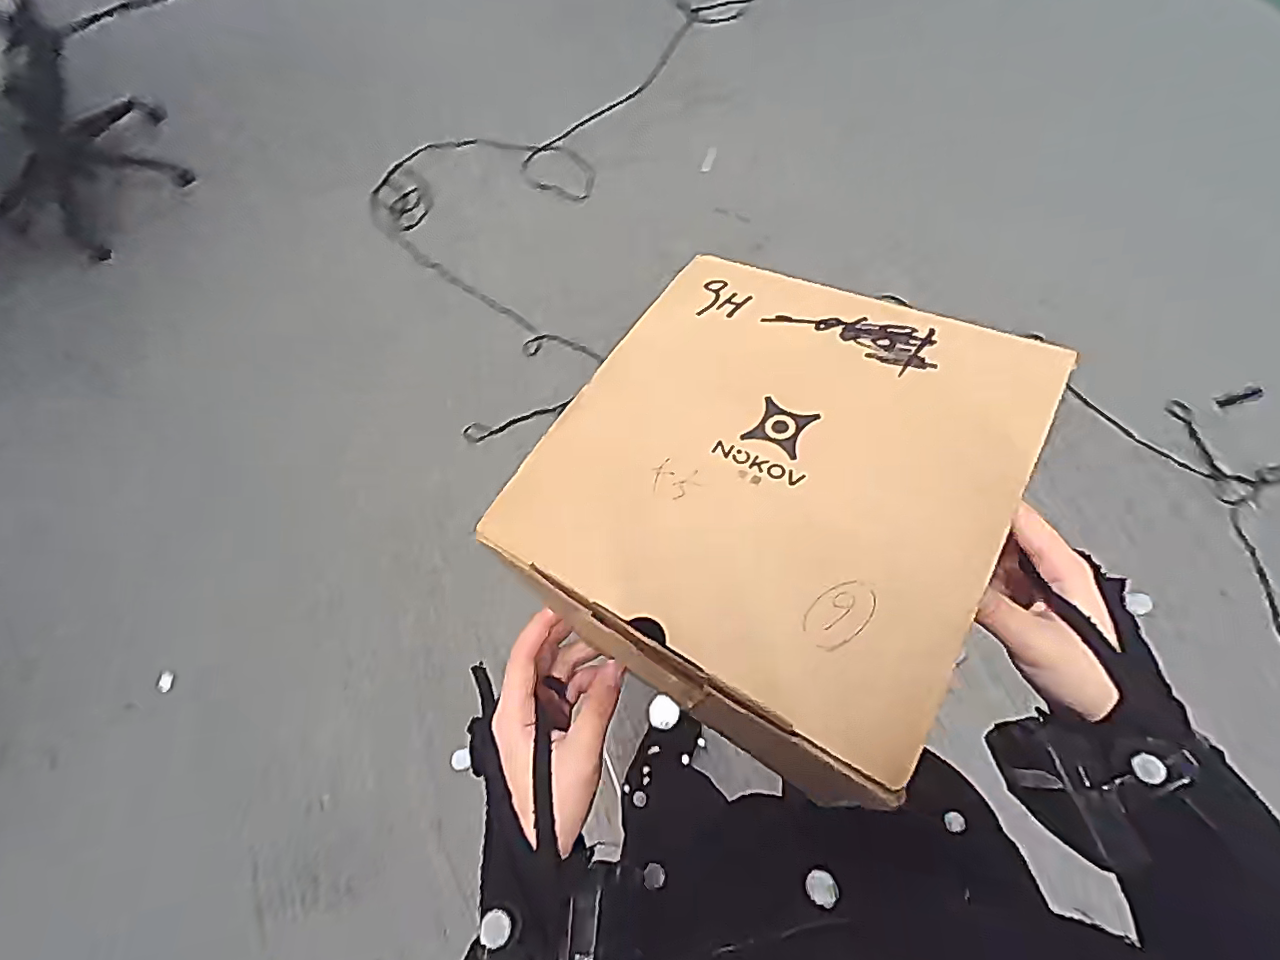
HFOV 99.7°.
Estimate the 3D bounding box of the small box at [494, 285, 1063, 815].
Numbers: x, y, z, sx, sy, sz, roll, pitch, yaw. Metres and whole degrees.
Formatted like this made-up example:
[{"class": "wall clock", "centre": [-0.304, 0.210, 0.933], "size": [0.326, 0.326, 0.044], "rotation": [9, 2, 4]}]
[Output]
[{"class": "small box", "centre": [0.066, 0.039, 0.281], "size": [0.168, 0.176, 0.179], "rotation": [27, 68, 25]}]
